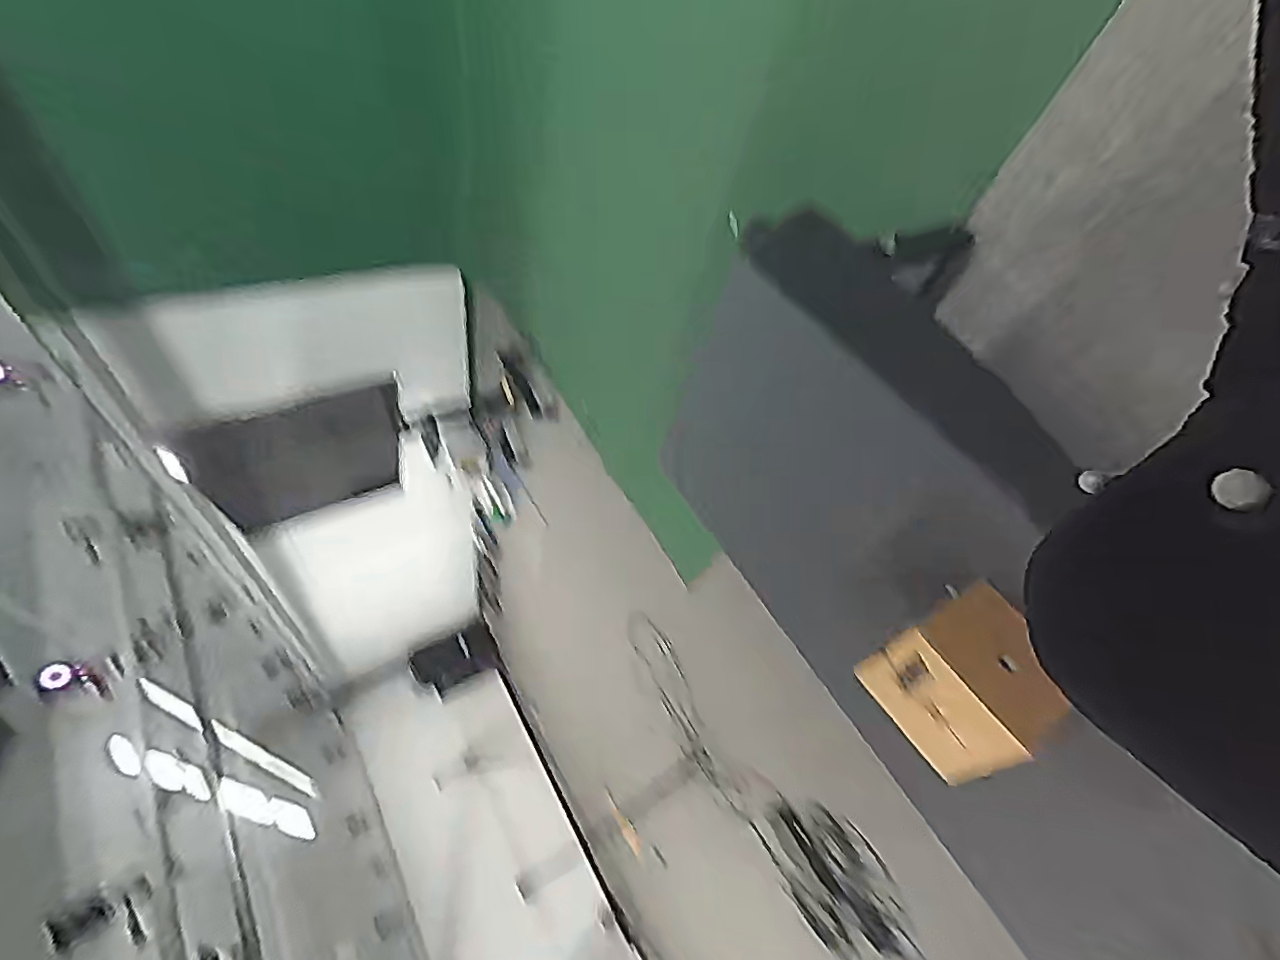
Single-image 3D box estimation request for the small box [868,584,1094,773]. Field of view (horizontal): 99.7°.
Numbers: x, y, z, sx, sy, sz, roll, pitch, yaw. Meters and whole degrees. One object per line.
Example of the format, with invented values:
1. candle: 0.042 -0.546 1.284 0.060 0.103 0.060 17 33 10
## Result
1. small box: 0.475 0.271 0.771 0.179 0.176 0.168 52 149 31
